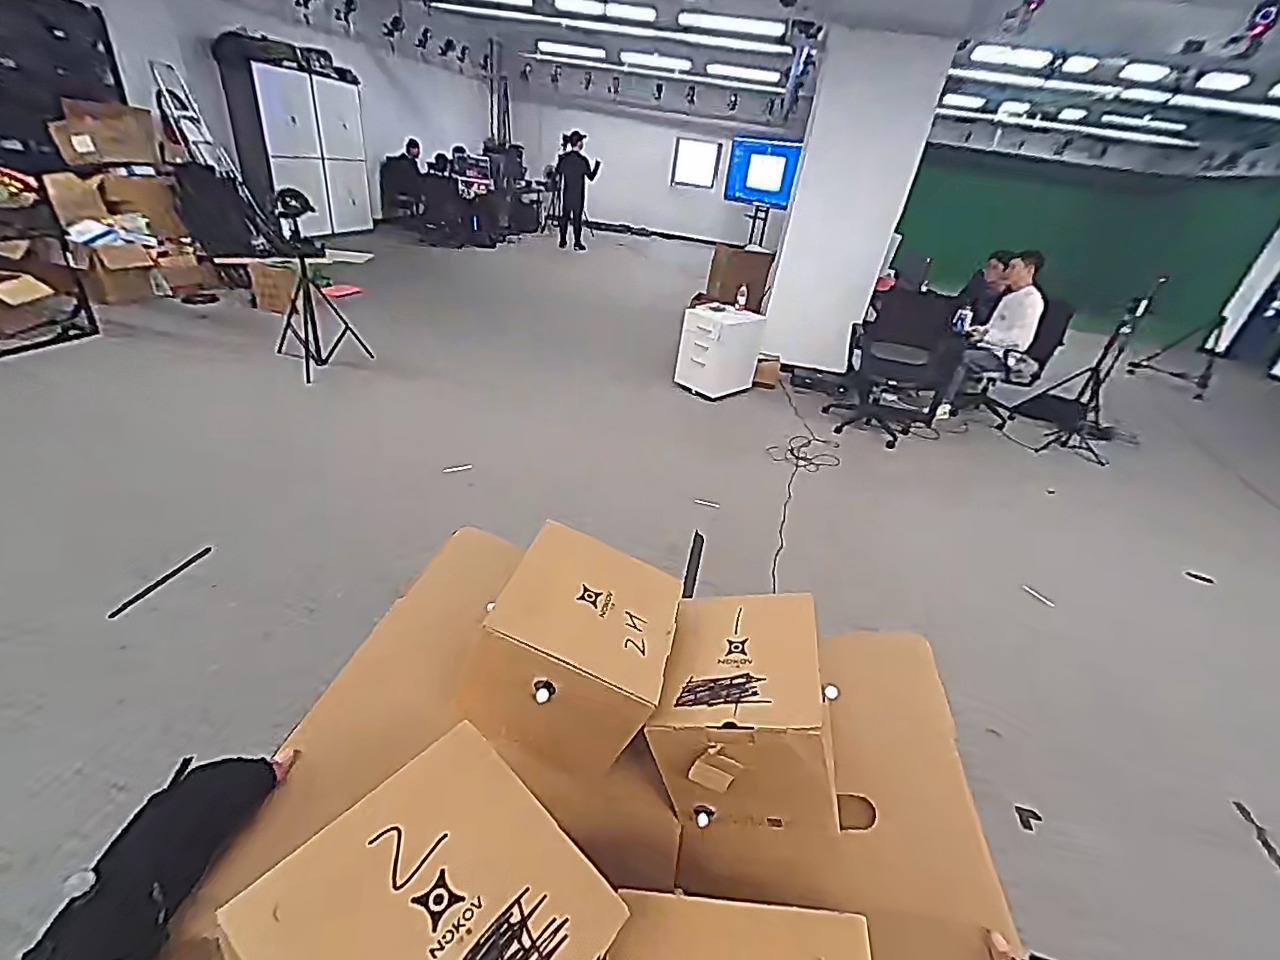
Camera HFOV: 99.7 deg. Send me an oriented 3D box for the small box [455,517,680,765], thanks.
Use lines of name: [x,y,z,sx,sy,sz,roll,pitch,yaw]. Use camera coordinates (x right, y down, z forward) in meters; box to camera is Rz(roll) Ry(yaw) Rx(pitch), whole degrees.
small box: [-0.080,0.179,0.598,0.179,0.176,0.168,27,35,-2]
